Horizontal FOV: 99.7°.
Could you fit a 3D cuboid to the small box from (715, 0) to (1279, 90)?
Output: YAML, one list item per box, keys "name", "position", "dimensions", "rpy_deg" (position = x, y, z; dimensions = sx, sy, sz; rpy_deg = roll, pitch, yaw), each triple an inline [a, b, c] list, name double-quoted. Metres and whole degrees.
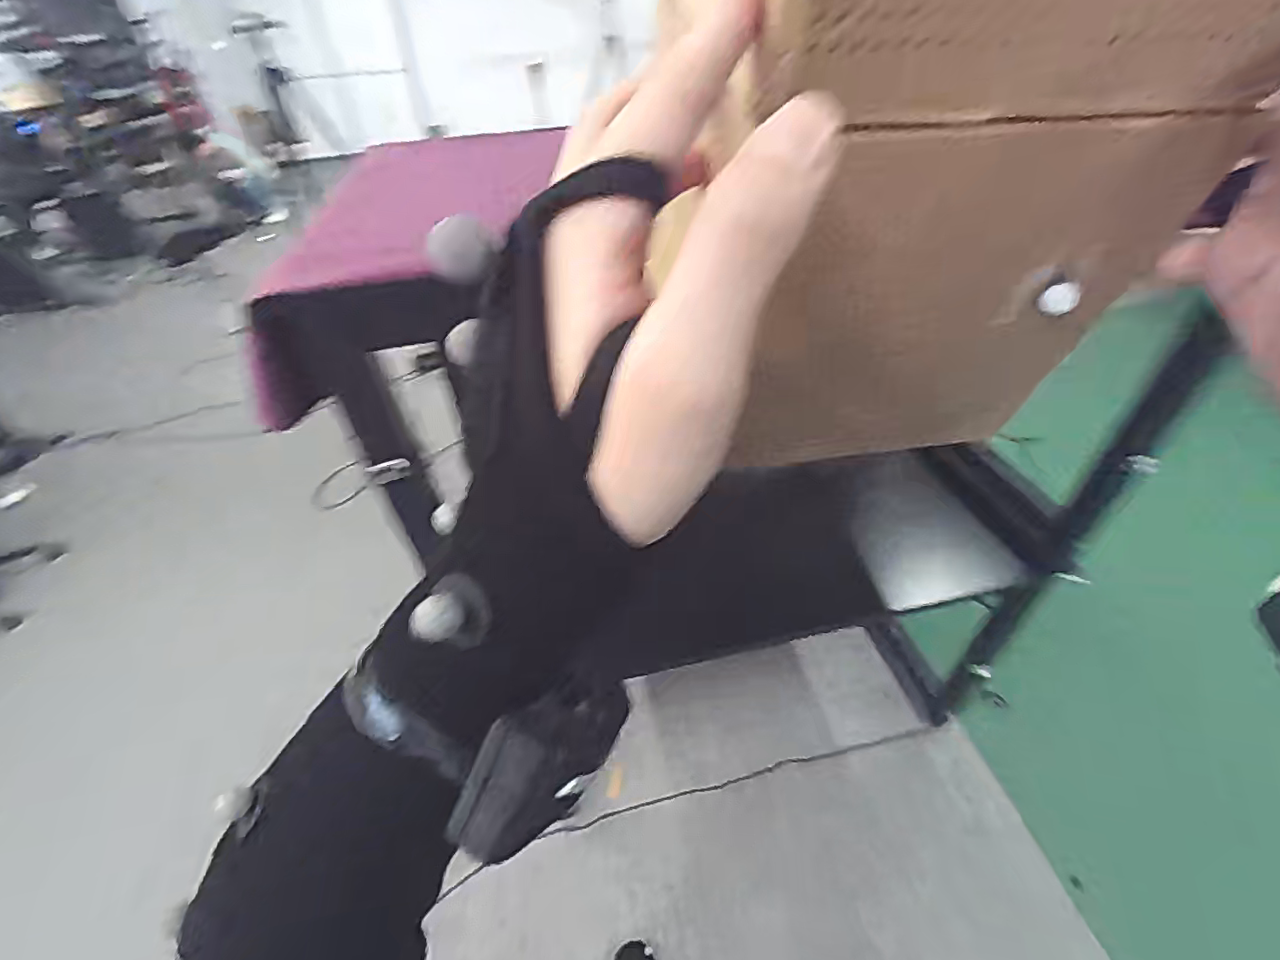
- name: "small box"
  position: [0.106, -0.223, 0.135]
  dimensions: [0.179, 0.176, 0.168]
  rpy_deg: [-6, 56, -6]

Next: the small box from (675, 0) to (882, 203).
- name: "small box"
  position: [0.141, -0.406, 0.570]
  dimensions: [0.179, 0.176, 0.168]
  rpy_deg: [-9, 42, -4]
